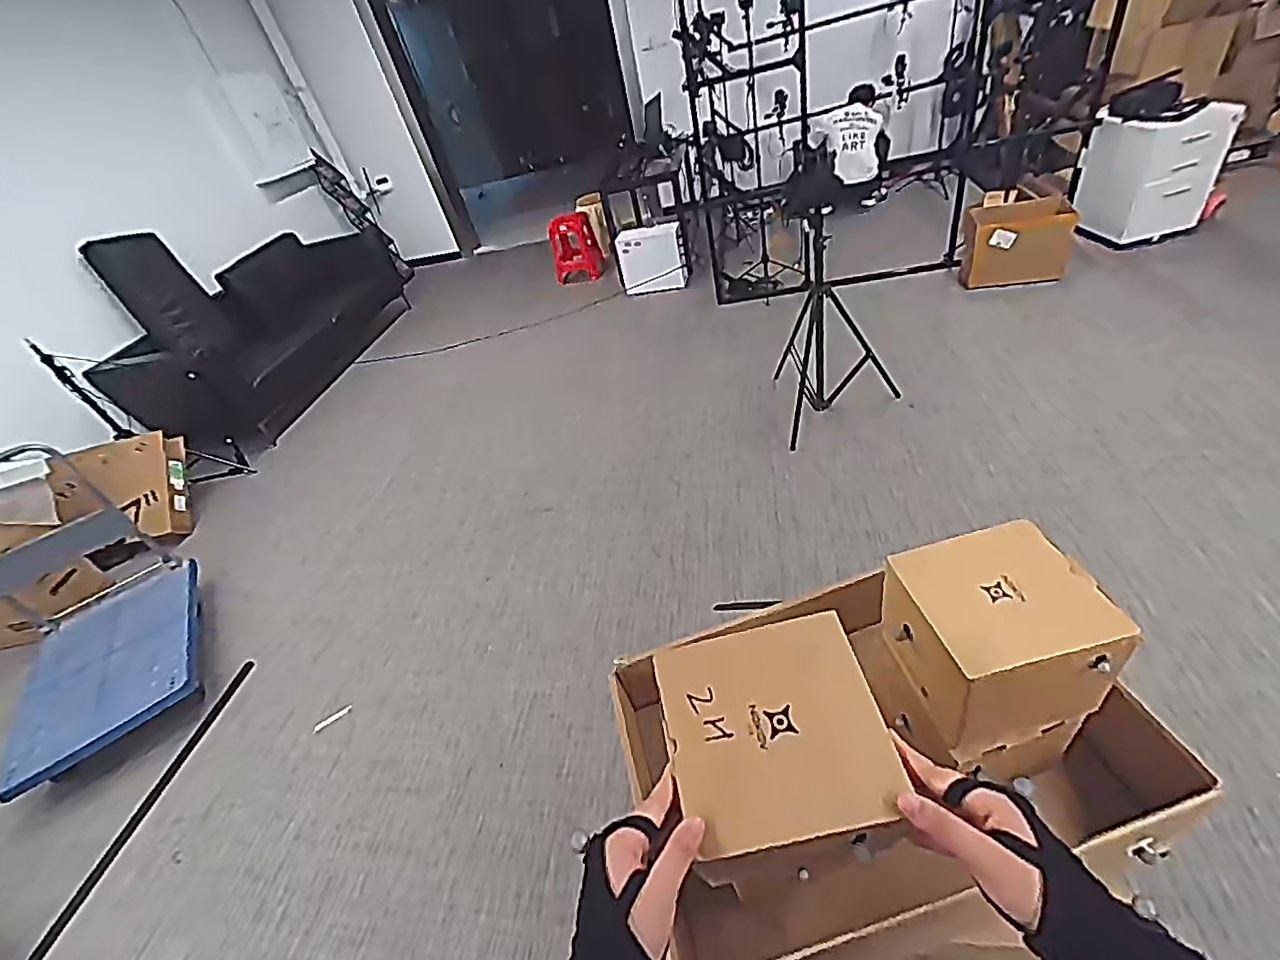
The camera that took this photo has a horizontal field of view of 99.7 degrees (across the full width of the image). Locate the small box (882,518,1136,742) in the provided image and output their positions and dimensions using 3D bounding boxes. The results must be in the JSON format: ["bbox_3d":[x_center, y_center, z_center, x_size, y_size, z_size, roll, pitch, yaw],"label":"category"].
[{"bbox_3d":[0.406,0.178,0.634,0.179,0.176,0.168,-16,40,2],"label":"small box"}]

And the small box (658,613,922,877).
[{"bbox_3d":[0.126,0.251,0.505,0.179,0.176,0.168,-14,47,4],"label":"small box"}]
